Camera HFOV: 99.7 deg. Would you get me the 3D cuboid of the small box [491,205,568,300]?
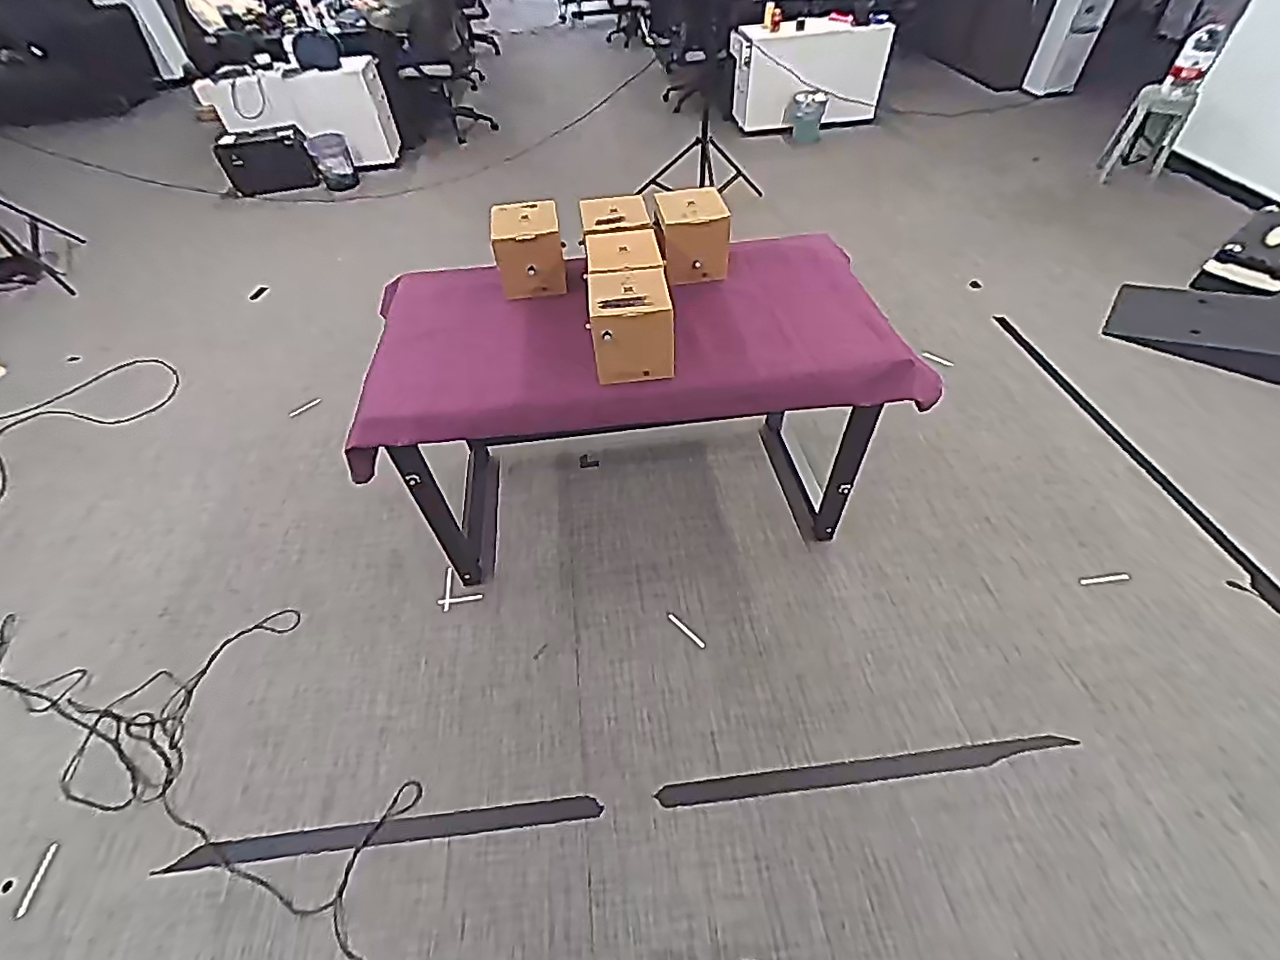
[{"bbox_3d":[-0.284,-0.586,1.410,0.168,0.176,0.179,-8,52,-3],"label":"small box"}]
